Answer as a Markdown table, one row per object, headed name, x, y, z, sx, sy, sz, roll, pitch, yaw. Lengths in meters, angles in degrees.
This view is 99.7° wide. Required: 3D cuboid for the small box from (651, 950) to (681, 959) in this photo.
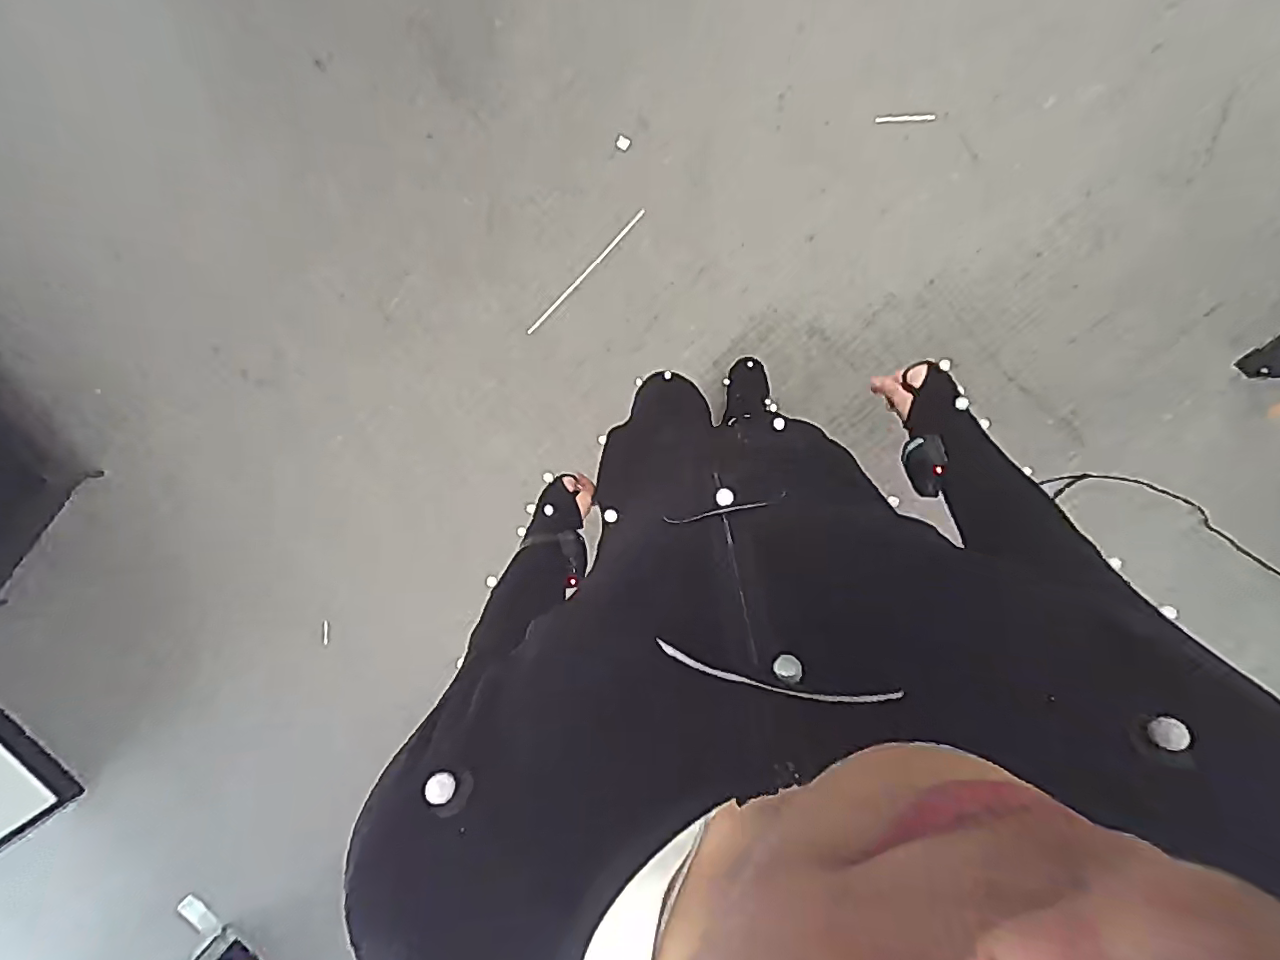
| name | x | y | z | sx | sy | sz | roll | pitch | yaw |
| --- | --- | --- | --- | --- | --- | --- | --- | --- | --- |
| small box | 0.082 | 1.658 | 1.717 | 0.179 | 0.176 | 0.168 | -43 | 92 | 15 |
